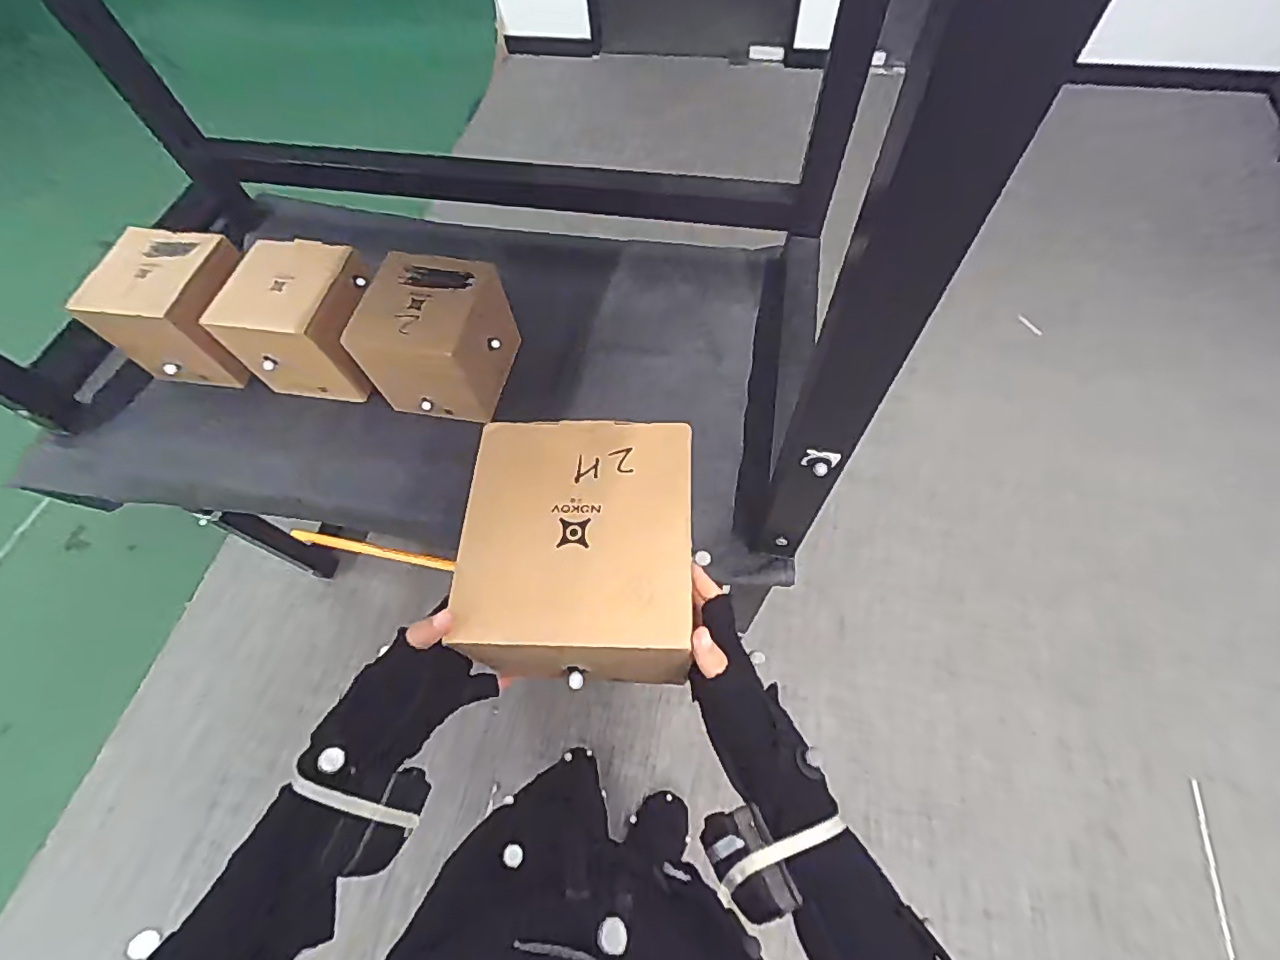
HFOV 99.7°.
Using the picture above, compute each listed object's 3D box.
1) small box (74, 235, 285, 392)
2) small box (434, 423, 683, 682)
[{"bbox_3d":[-0.731,-0.270,0.888,0.168,0.176,0.179,6,63,7],"label":"small box"},{"bbox_3d":[-0.047,0.069,0.458,0.168,0.176,0.179,0,61,4],"label":"small box"}]
